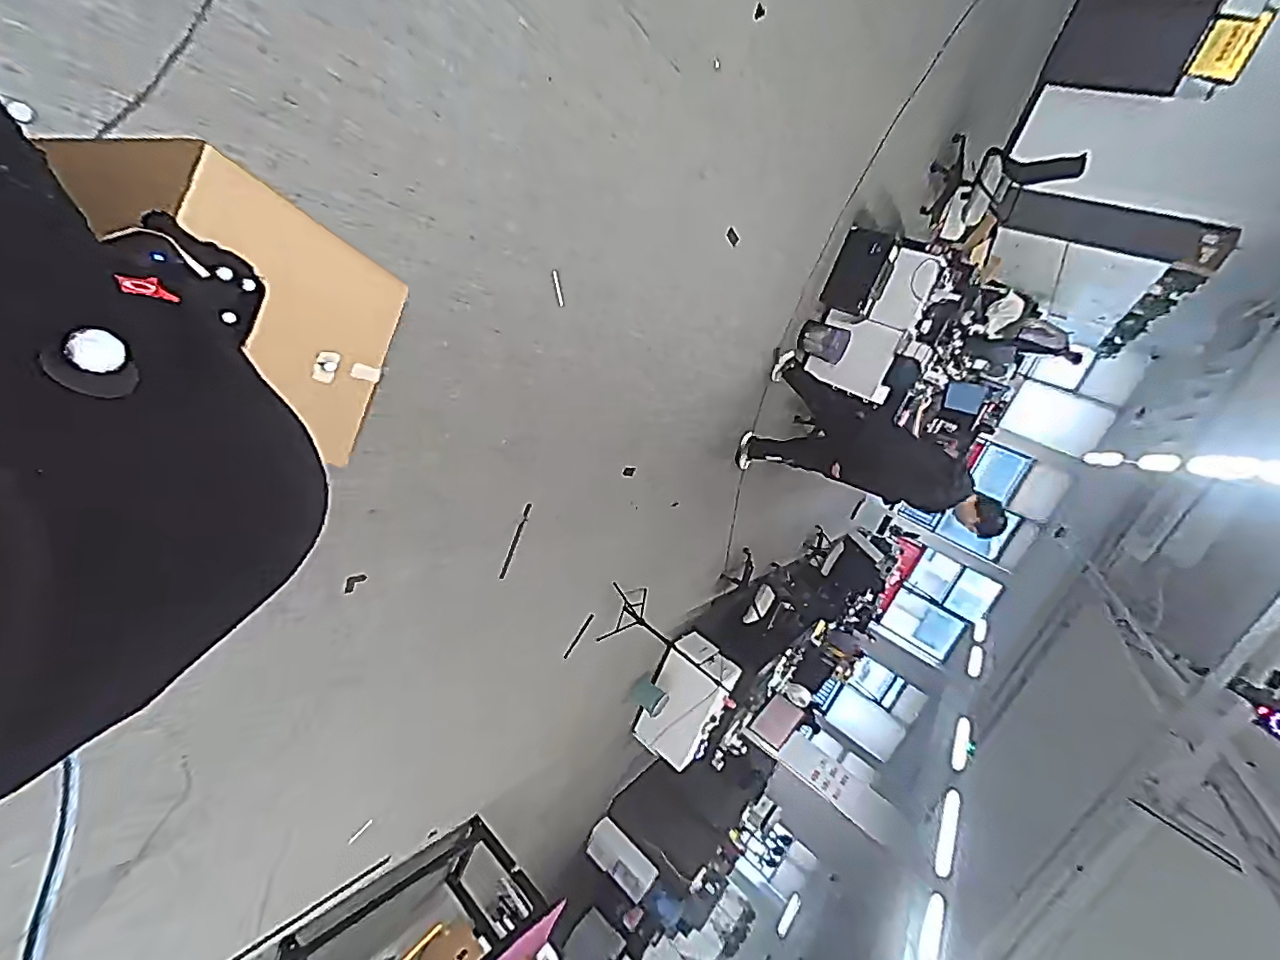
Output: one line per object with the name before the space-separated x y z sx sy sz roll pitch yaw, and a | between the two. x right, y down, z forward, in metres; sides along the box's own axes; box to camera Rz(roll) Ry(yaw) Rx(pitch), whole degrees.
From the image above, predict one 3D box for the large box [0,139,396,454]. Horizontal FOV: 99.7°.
large box | -0.651 -0.247 0.796 0.320 0.408 0.320 26 79 -67
